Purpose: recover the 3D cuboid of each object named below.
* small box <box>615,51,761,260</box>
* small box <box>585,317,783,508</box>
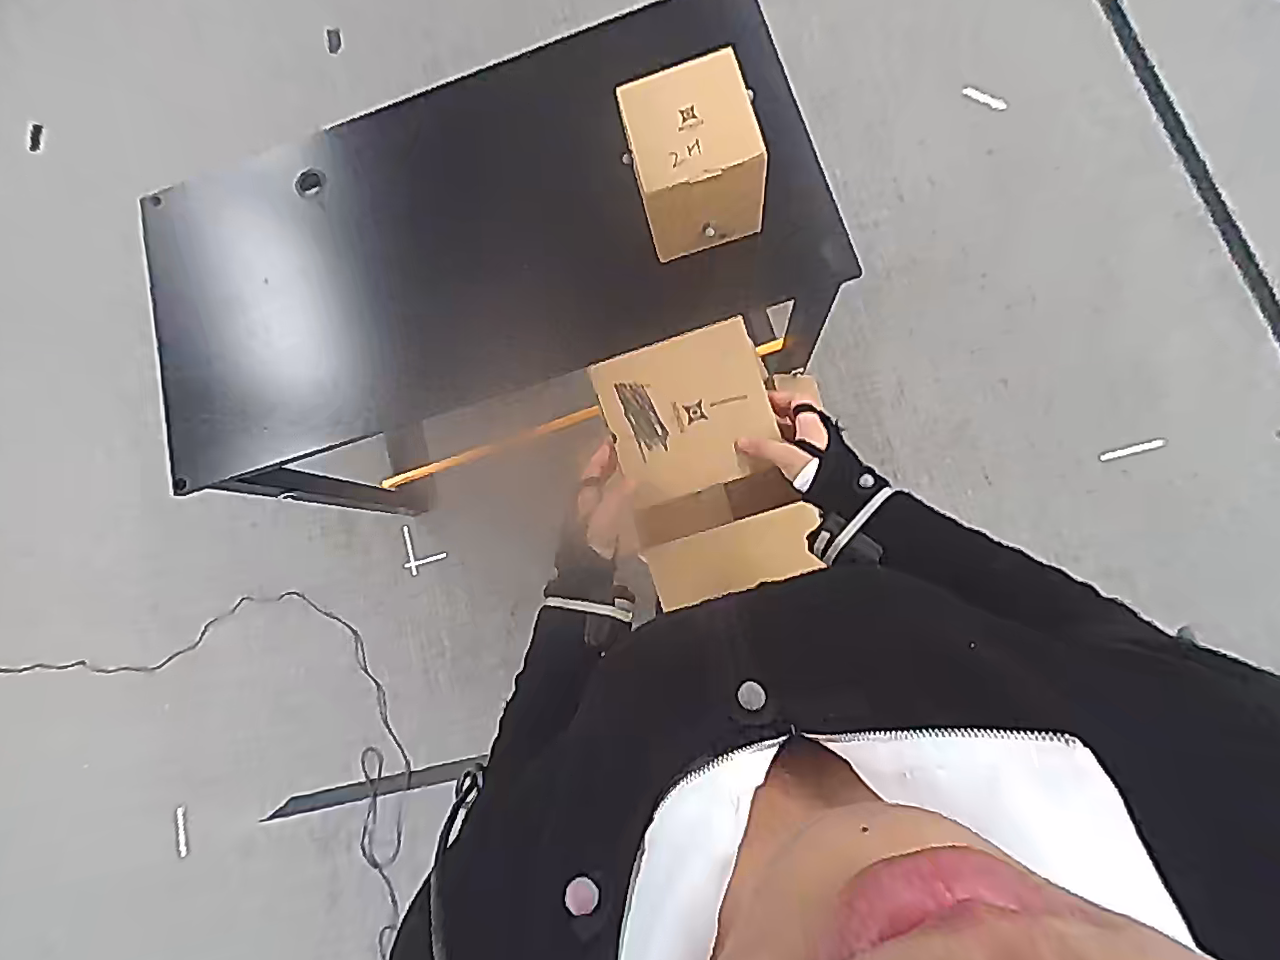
[{"bbox_3d":[0.072,-0.463,0.797,0.168,0.176,0.179,-15,79,7],"label":"small box"},{"bbox_3d":[0.051,-0.068,0.649,0.179,0.176,0.168,-18,88,3],"label":"small box"}]
